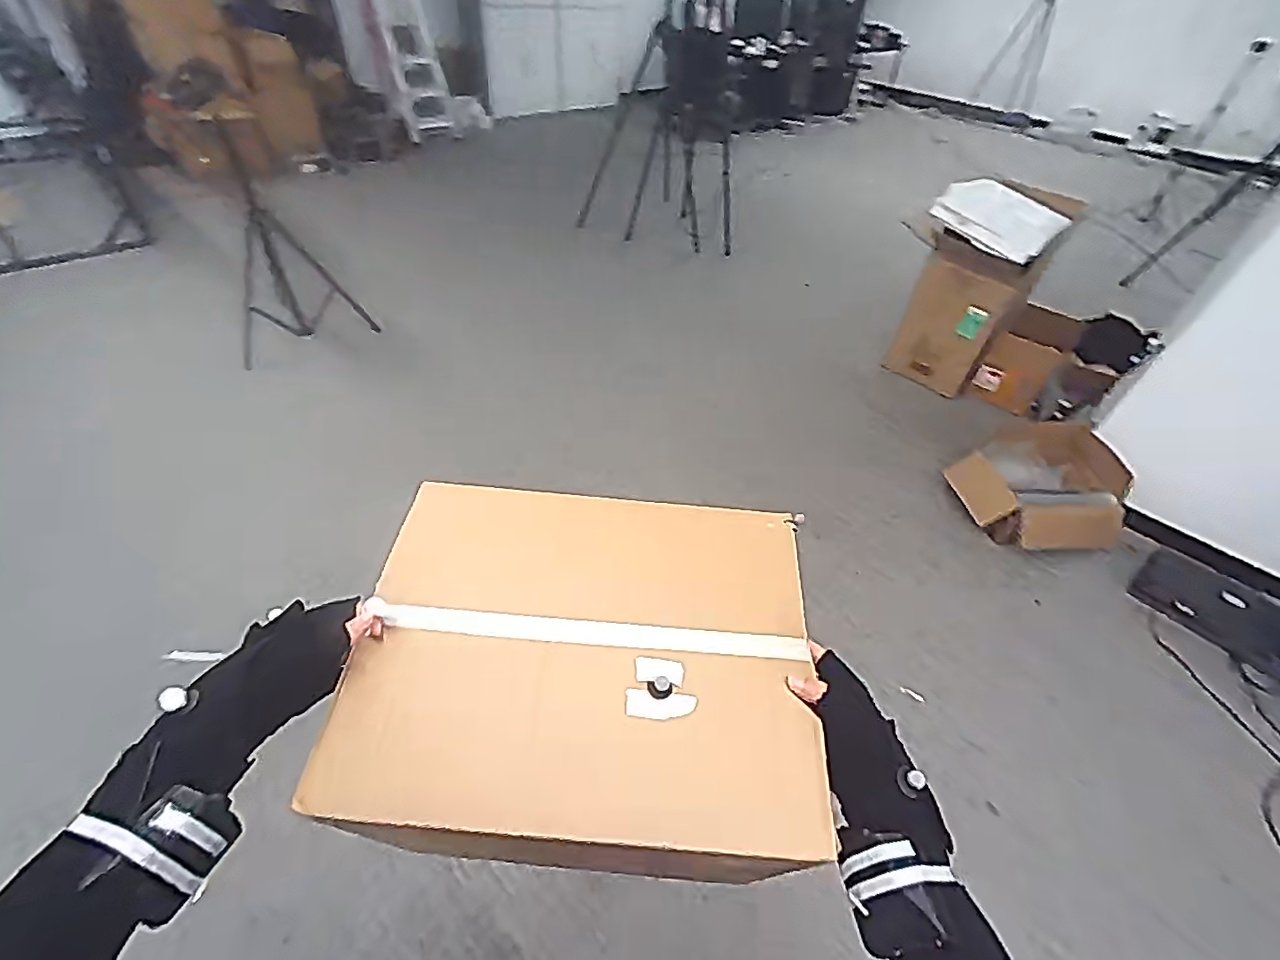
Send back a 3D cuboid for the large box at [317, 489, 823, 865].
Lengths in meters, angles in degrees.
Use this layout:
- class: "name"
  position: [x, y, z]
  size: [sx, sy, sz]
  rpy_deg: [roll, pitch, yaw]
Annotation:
- class: "large box"
  position: [-0.056, 0.236, 0.625]
  size: [0.408, 0.320, 0.320]
  rpy_deg: [5, 52, -1]
